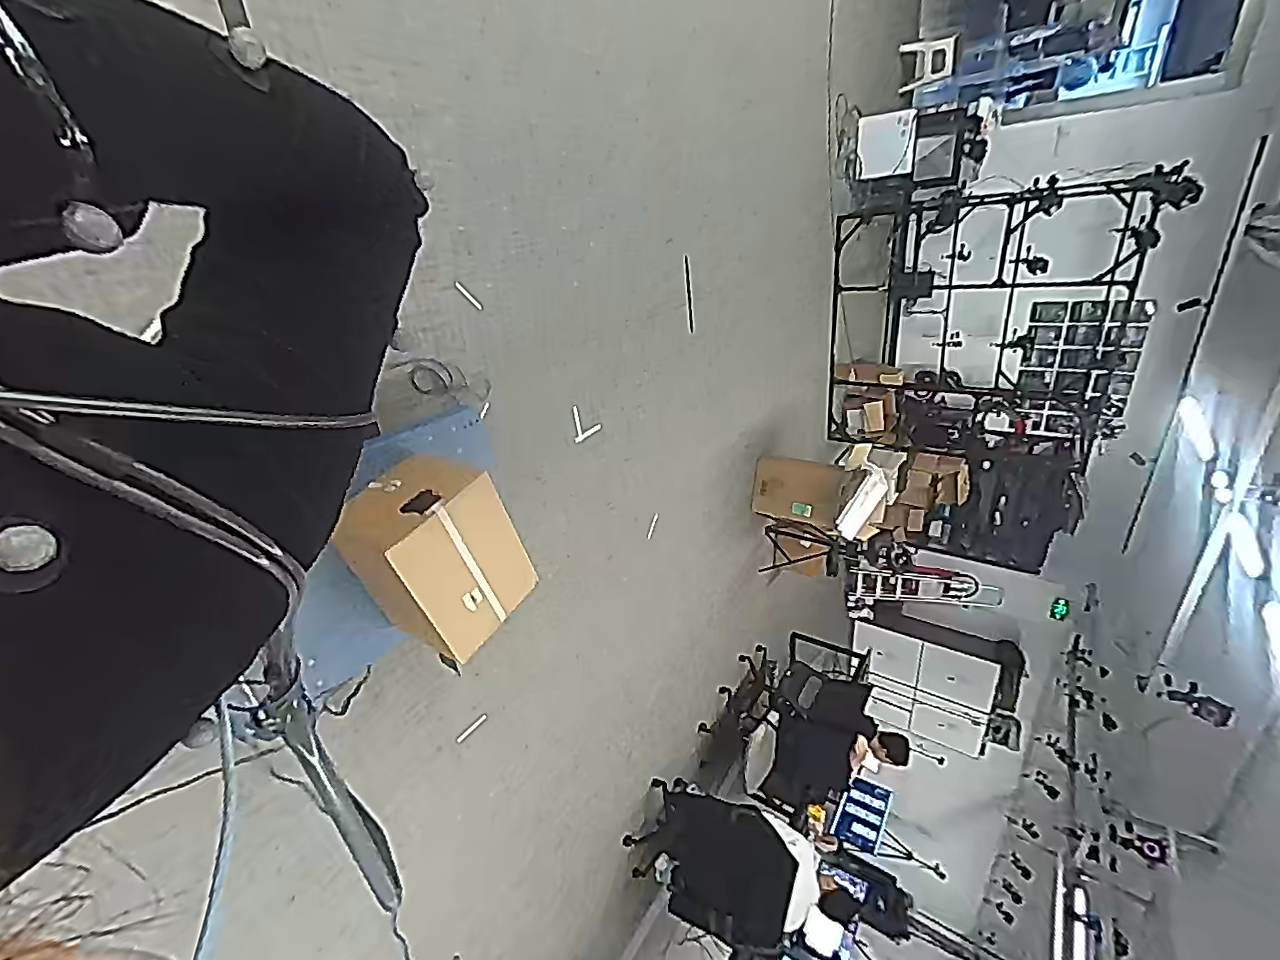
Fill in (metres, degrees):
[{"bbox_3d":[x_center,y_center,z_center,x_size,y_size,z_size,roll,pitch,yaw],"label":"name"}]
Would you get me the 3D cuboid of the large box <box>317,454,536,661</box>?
[{"bbox_3d":[-0.545,0.193,1.431,0.320,0.320,0.408,-47,136,-37],"label":"large box"}]
